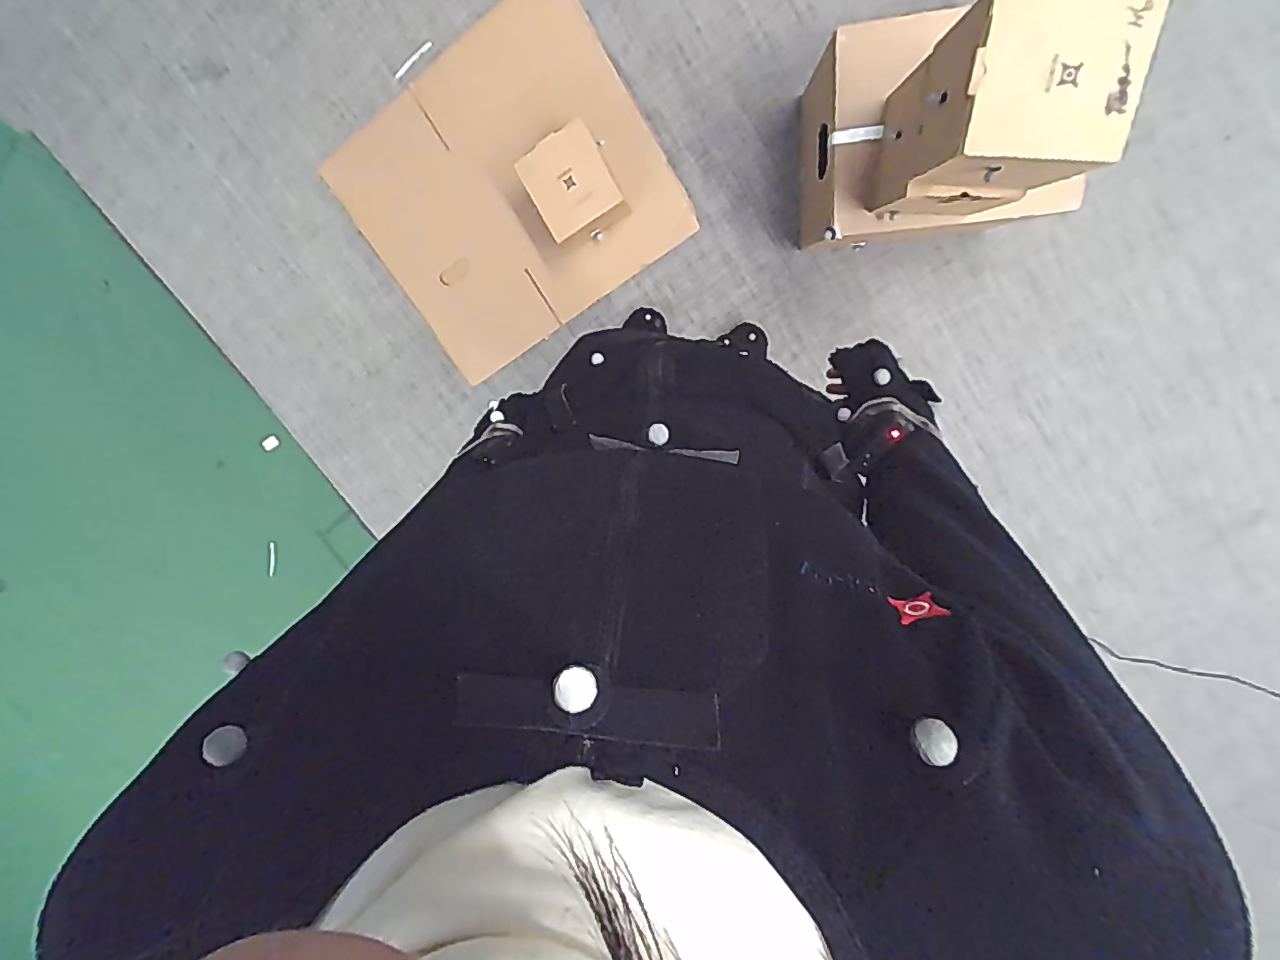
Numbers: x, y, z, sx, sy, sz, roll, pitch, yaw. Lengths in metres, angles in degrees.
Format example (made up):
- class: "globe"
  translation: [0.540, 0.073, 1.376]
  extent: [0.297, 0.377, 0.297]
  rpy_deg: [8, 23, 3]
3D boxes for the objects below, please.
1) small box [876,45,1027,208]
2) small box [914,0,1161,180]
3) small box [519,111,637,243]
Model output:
- class: "small box"
  translation: [0.471, -0.516, 0.813]
  extent: [0.168, 0.176, 0.179]
  rpy_deg: [4, 109, 5]
- class: "small box"
  translation: [0.461, -0.475, 0.658]
  extent: [0.179, 0.176, 0.168]
  rpy_deg: [2, 108, 5]
- class: "small box"
  translation: [-0.124, -0.632, 1.156]
  extent: [0.168, 0.176, 0.179]
  rpy_deg: [-28, 104, 16]
